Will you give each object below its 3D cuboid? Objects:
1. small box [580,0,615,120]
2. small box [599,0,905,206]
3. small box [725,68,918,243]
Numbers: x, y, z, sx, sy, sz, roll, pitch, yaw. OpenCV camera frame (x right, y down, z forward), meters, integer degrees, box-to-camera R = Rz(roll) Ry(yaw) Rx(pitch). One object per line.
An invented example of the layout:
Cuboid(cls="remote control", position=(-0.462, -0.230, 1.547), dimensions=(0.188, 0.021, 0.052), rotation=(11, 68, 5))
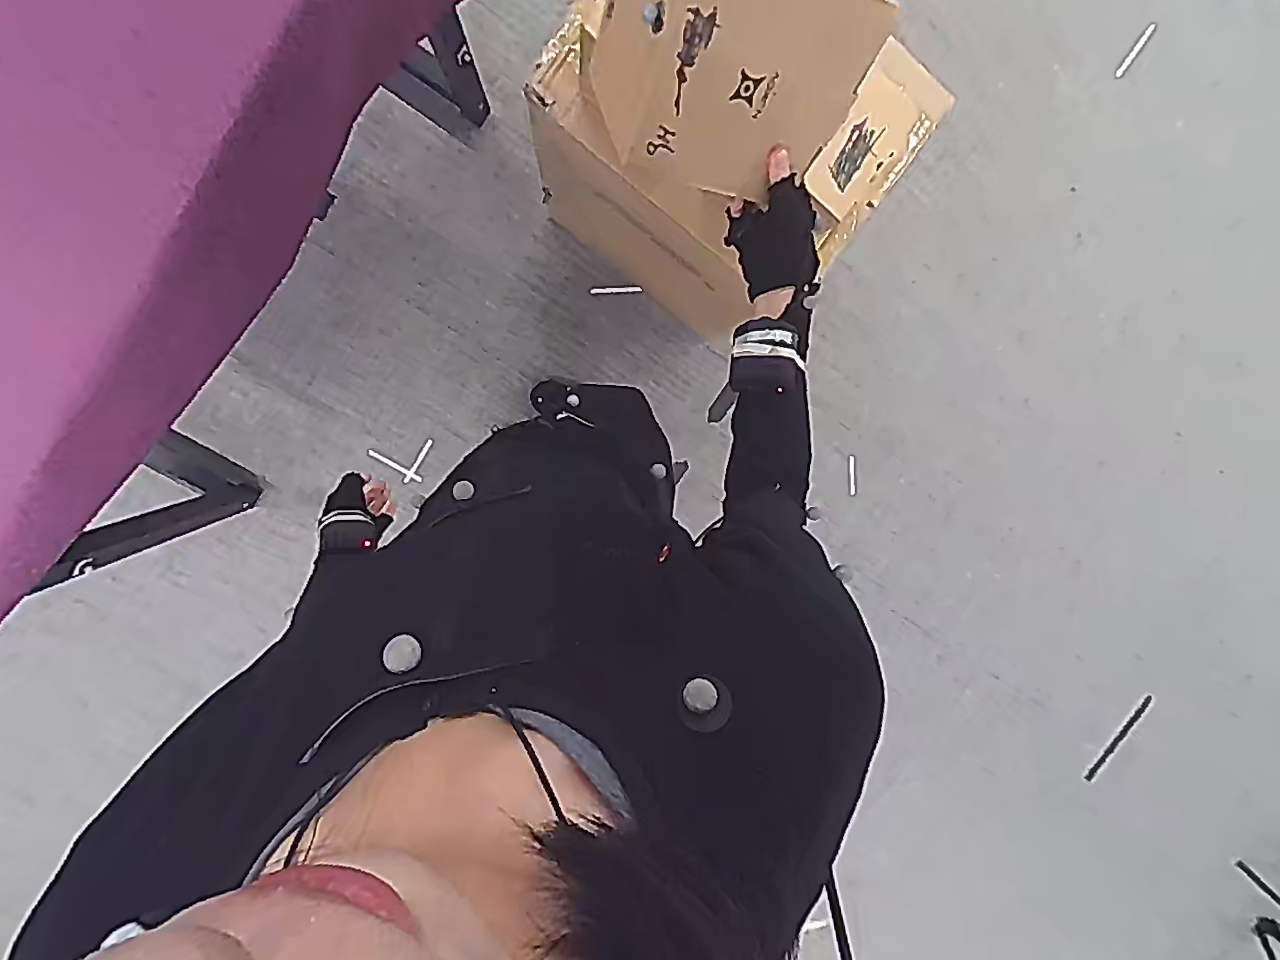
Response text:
Cuboid(cls="small box", position=(0.036, -0.562, 0.711), dimensions=(0.179, 0.176, 0.168), rotation=(33, 96, -12))
Cuboid(cls="small box", position=(0.080, -0.382, 0.475), dimensions=(0.179, 0.168, 0.176), rotation=(1, 56, -25))
Cuboid(cls="small box", position=(0.229, -0.457, 0.749), dimensions=(0.179, 0.176, 0.168), rotation=(37, 95, -9))
